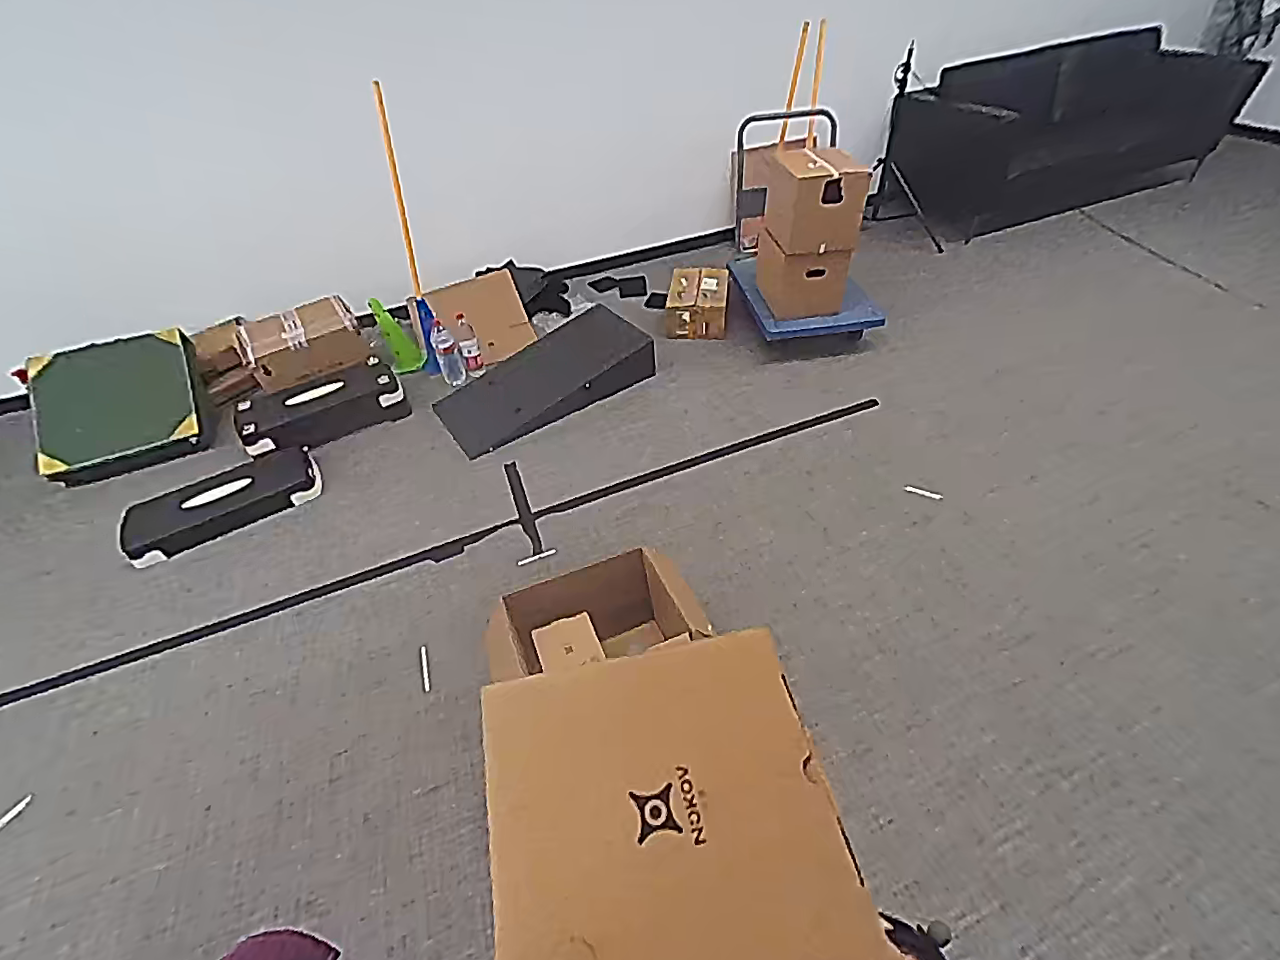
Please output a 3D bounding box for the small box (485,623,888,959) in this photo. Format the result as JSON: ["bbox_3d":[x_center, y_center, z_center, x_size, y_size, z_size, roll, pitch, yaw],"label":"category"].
[{"bbox_3d":[0.010,0.214,0.340,0.179,0.176,0.168,-9,54,-10],"label":"small box"}]
